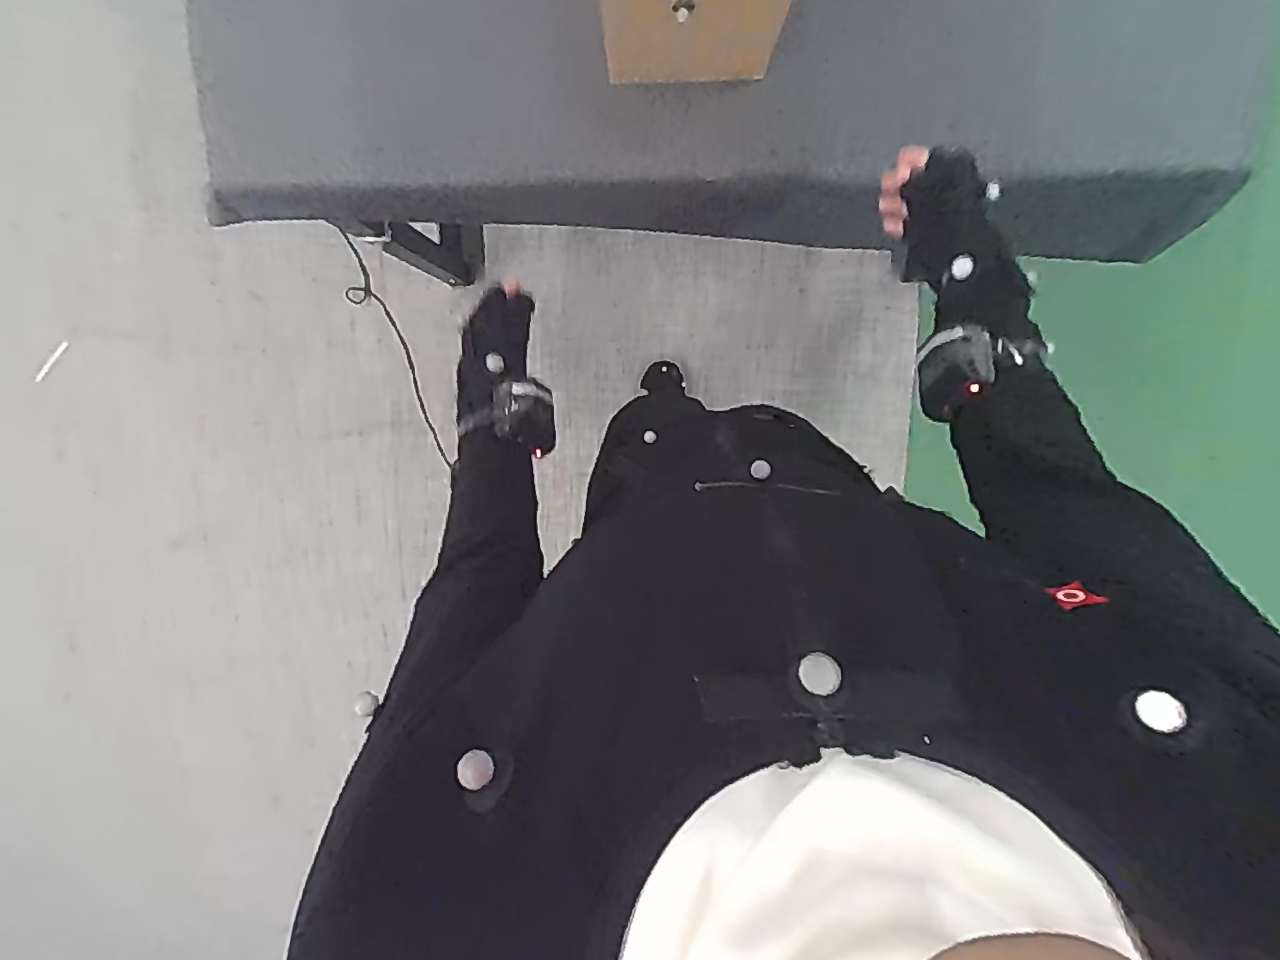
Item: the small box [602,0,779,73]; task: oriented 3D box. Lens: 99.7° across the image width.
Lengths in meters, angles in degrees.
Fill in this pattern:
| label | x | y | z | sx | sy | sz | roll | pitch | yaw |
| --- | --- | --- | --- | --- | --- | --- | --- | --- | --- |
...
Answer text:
| label | x | y | z | sx | sy | sz | roll | pitch | yaw |
| --- | --- | --- | --- | --- | --- | --- | --- | --- | --- |
| small box | 0.048 | -0.526 | 0.518 | 0.179 | 0.176 | 0.168 | -1 | 100 | 1 |
